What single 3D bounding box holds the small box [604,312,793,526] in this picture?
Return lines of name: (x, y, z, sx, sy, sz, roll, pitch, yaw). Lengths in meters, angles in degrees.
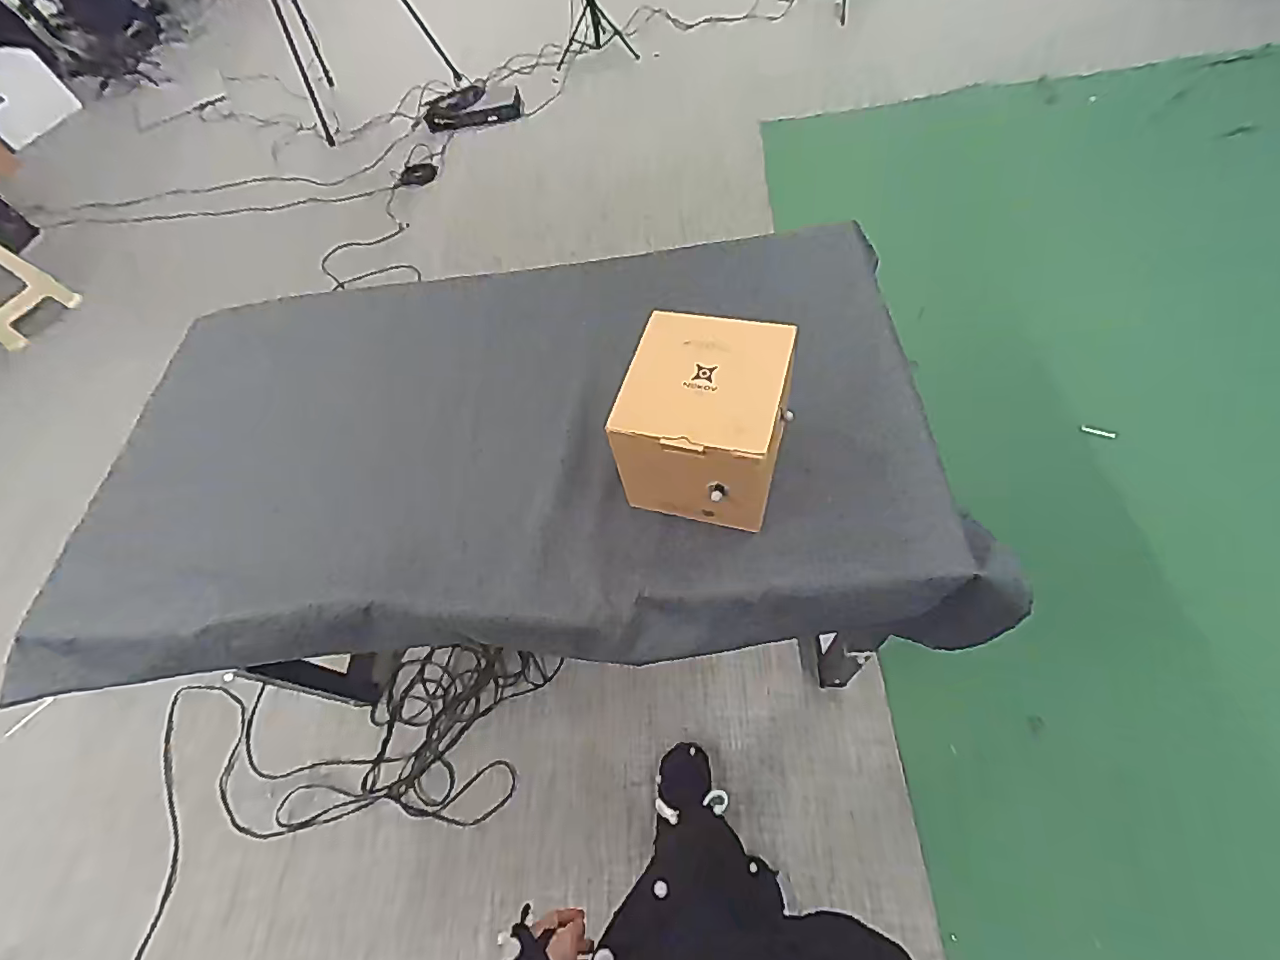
small box: (0.076, -0.067, 0.633, 0.168, 0.176, 0.179, 12, 60, 15)
